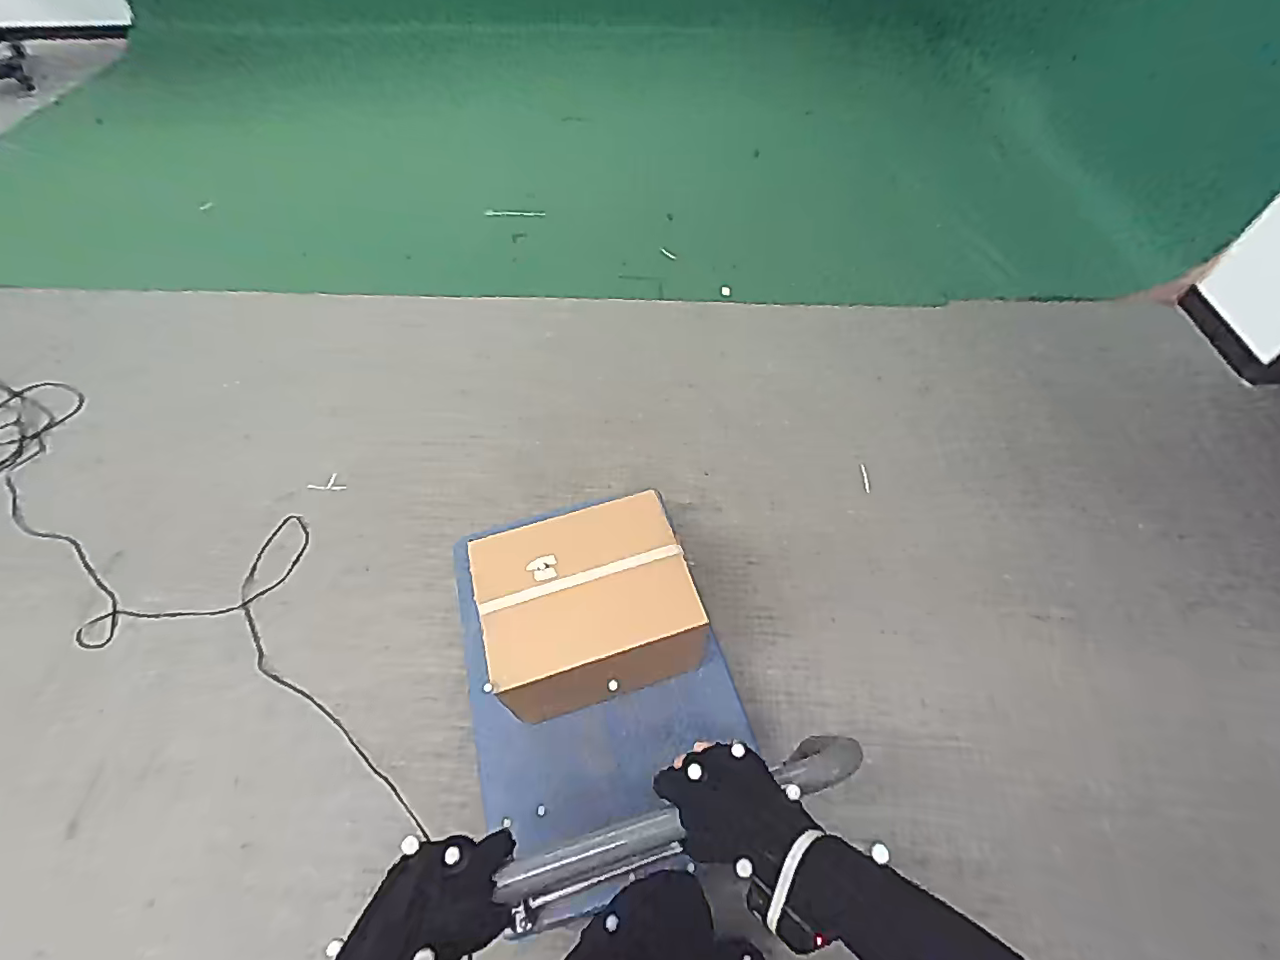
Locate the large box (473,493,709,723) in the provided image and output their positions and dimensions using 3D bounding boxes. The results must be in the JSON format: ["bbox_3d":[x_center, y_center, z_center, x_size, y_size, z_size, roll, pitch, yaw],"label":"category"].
[{"bbox_3d":[-0.100,0.284,1.178,0.408,0.320,0.320,-17,57,-9],"label":"large box"}]
